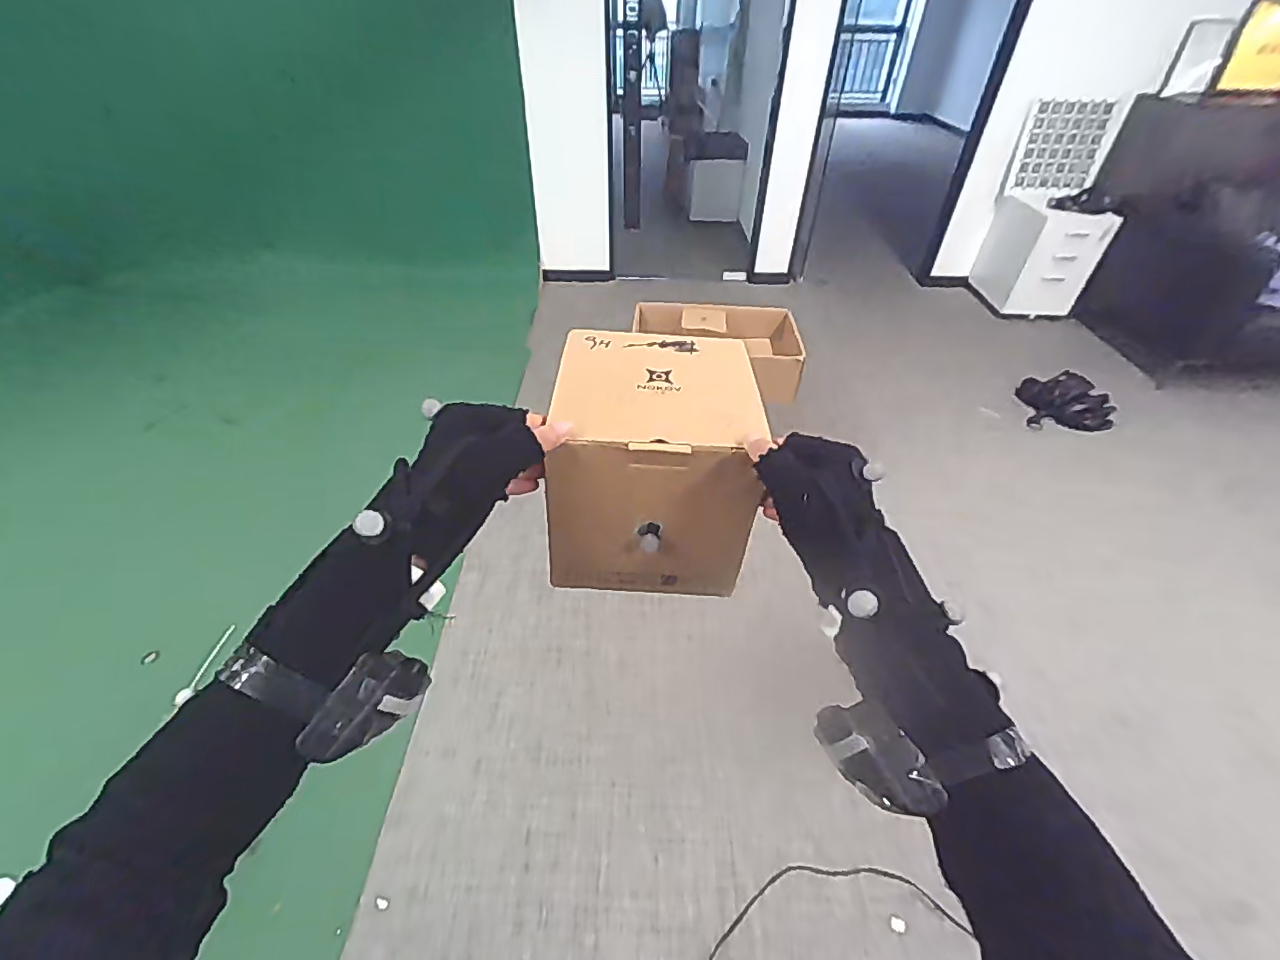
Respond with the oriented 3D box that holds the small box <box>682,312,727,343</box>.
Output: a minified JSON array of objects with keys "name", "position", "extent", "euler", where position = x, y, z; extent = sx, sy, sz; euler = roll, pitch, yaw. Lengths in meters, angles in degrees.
[{"name":"small box","position":[0.241,-0.526,2.071],"extent":[0.168,0.176,0.179],"euler":[6,40,2]}]

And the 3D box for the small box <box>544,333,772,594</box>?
[{"name":"small box","position":[0.011,-0.014,0.495],"extent":[0.168,0.176,0.179],"euler":[4,41,-2]}]
